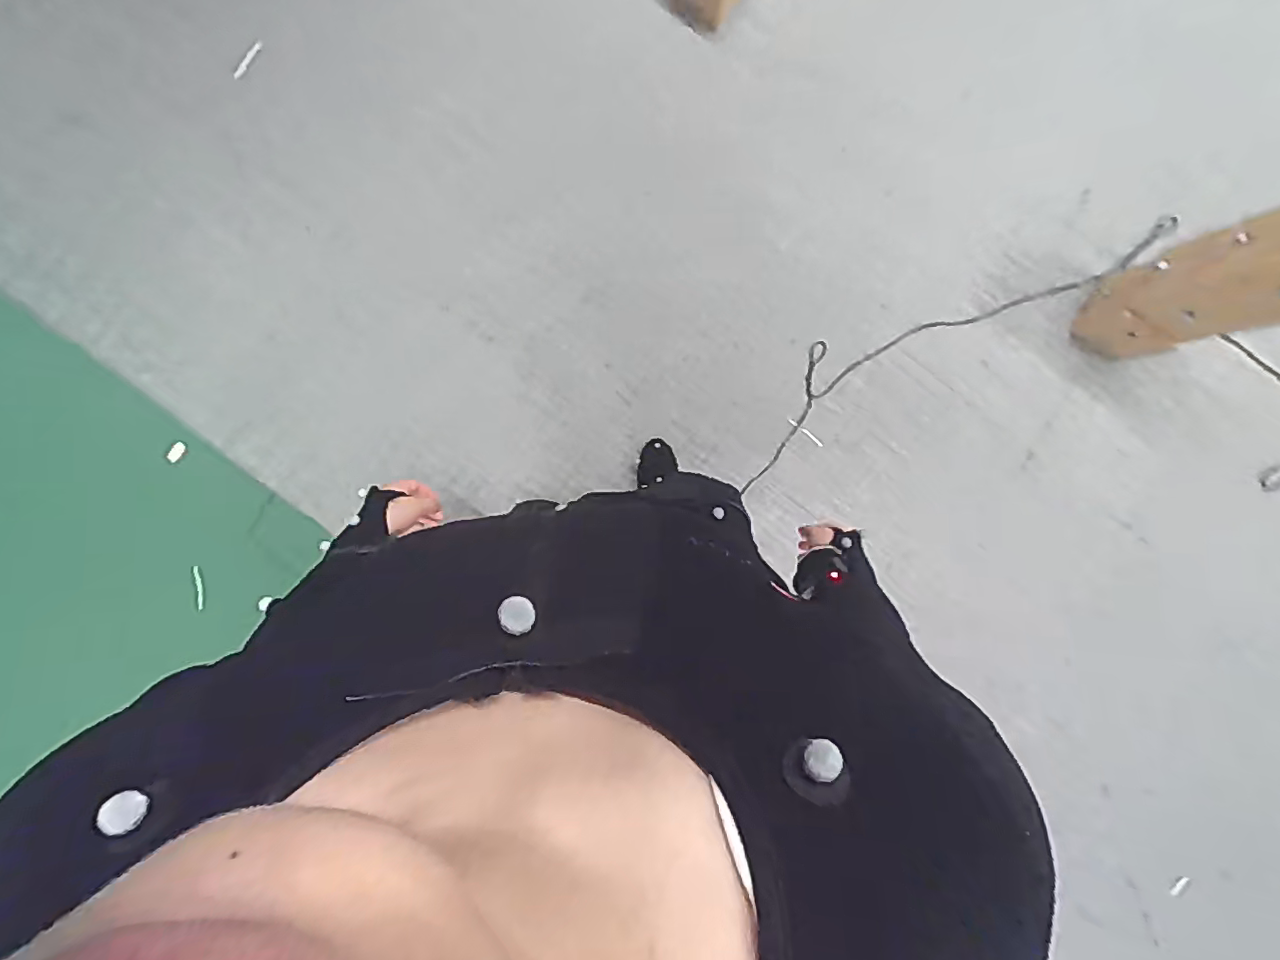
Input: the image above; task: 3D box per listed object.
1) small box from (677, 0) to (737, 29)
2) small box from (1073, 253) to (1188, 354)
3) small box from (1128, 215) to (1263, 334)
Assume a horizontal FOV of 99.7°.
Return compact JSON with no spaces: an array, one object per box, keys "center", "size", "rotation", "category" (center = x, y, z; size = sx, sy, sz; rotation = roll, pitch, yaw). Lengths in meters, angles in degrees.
[{"center":[0.178,-1.282,1.329],"size":[0.168,0.176,0.179],"rotation":[37,92,-2],"category":"small box"},{"center":[1.274,-0.440,1.382],"size":[0.179,0.176,0.168],"rotation":[29,93,-2],"category":"small box"},{"center":[1.282,-0.449,1.218],"size":[0.179,0.176,0.168],"rotation":[32,92,-1],"category":"small box"}]
